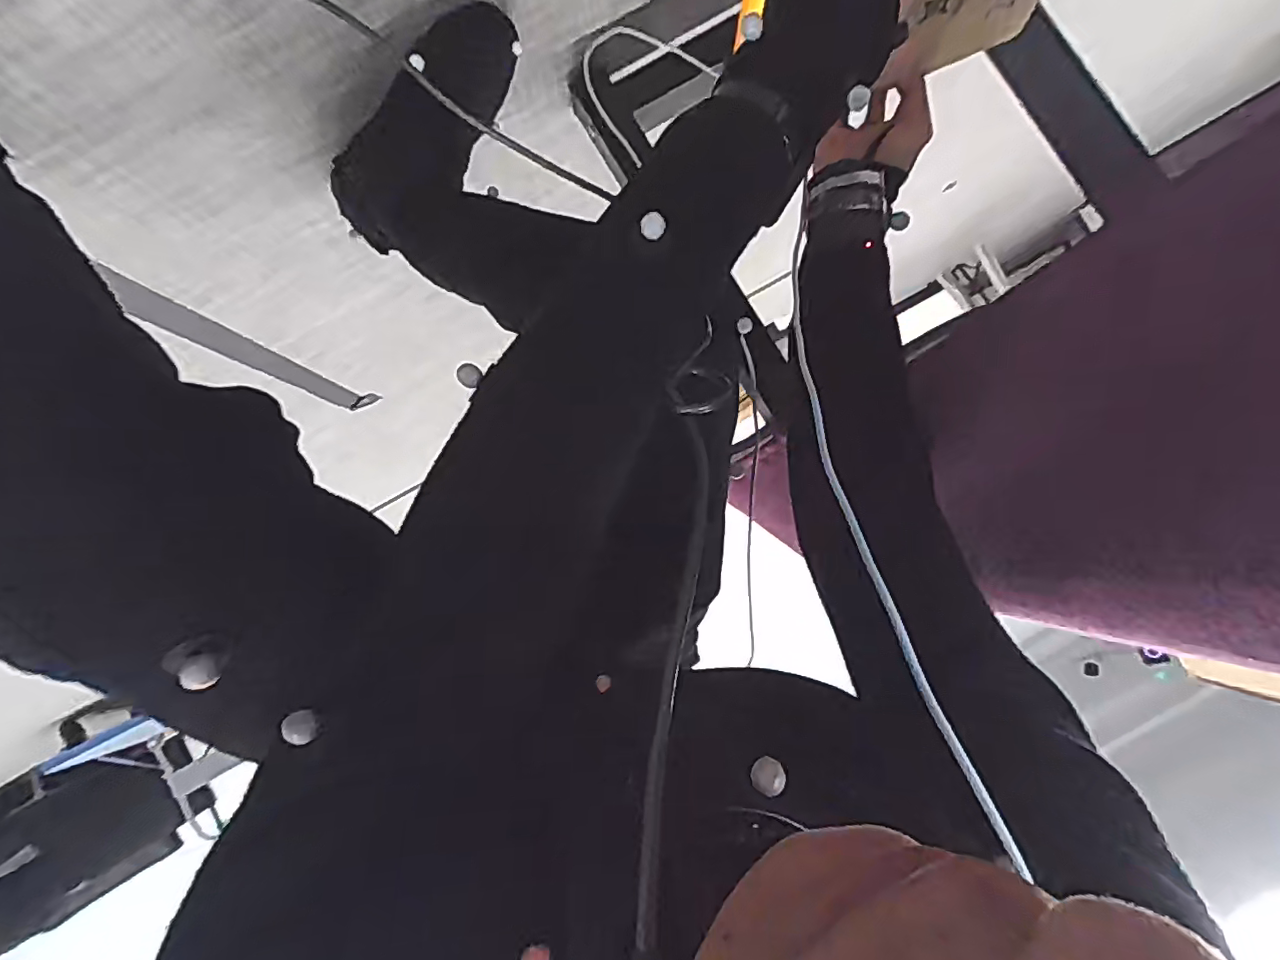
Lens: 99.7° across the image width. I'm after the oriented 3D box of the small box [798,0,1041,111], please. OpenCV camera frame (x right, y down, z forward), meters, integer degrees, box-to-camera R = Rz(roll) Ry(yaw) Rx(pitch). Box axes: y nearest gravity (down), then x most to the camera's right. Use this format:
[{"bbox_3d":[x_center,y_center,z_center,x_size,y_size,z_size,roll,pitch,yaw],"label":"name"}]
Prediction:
[{"bbox_3d":[0.223,-0.456,0.431,0.179,0.176,0.168,-16,177,13],"label":"small box"}]
